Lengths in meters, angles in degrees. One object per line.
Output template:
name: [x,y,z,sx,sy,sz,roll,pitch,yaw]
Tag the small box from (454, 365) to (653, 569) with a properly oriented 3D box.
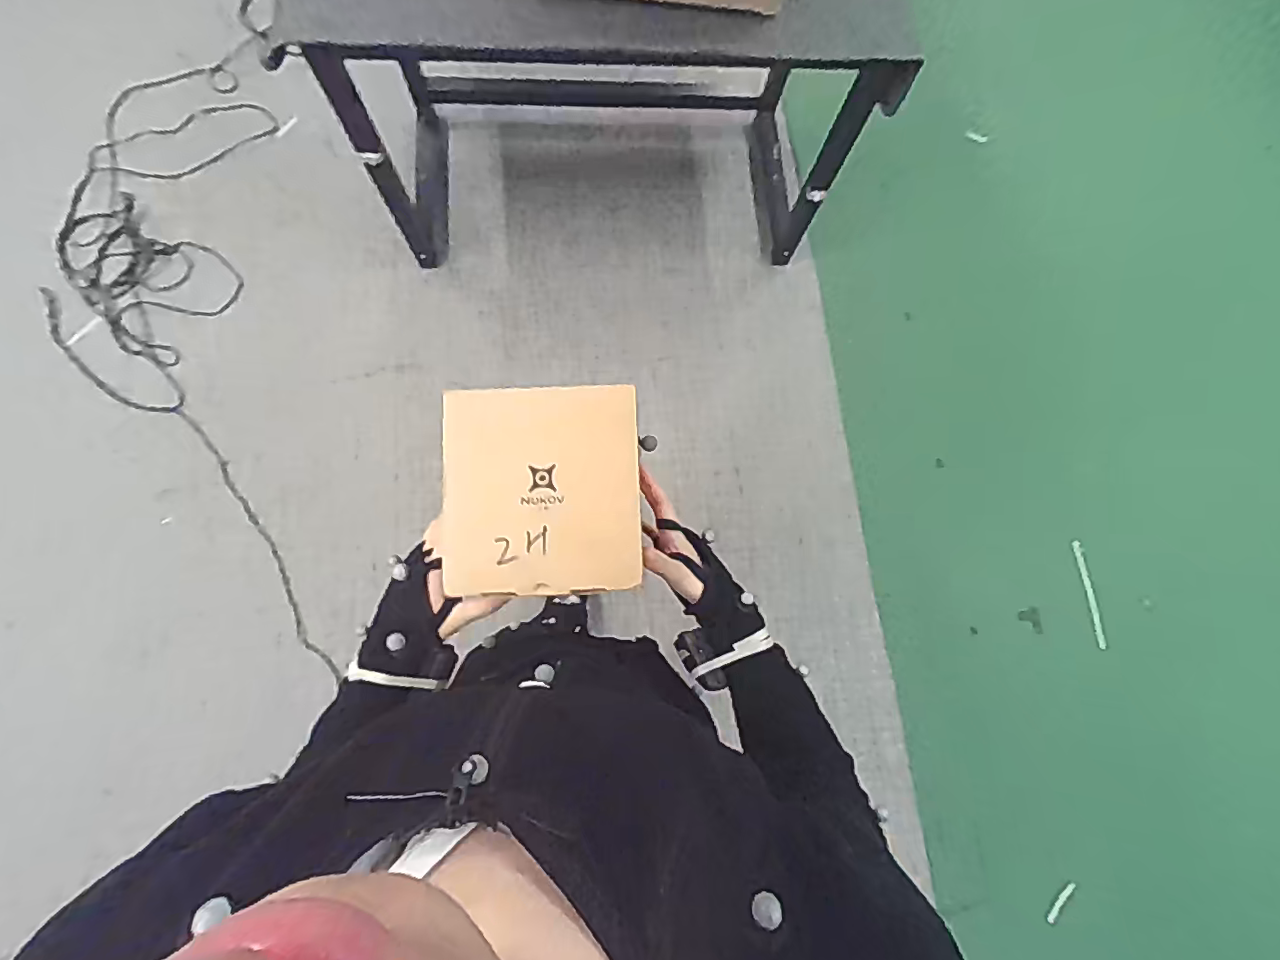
small box: [-0.074,-0.002,0.536,0.168,0.176,0.179,-1,83,-1]
